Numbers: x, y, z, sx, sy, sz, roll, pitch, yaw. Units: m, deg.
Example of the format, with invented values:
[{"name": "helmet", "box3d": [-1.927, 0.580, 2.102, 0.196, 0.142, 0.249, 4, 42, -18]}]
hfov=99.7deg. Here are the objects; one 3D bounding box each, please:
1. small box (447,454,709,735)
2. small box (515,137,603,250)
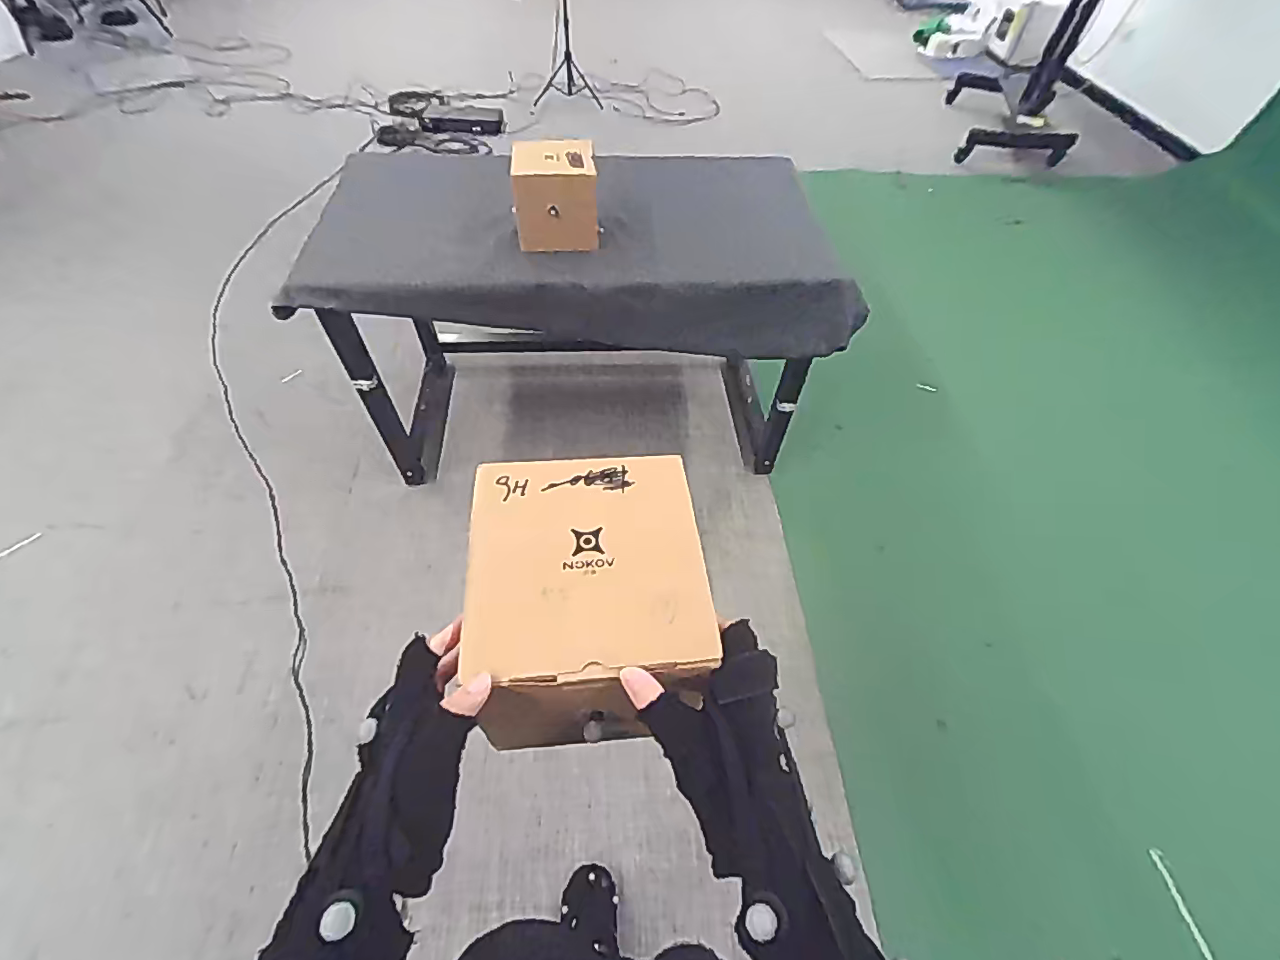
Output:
[{"name": "small box", "box3d": [-0.048, 0.100, 0.444, 0.168, 0.176, 0.179, -3, 53, -6]}, {"name": "small box", "box3d": [-0.179, -0.630, 1.197, 0.179, 0.176, 0.168, -5, 54, -8]}]
